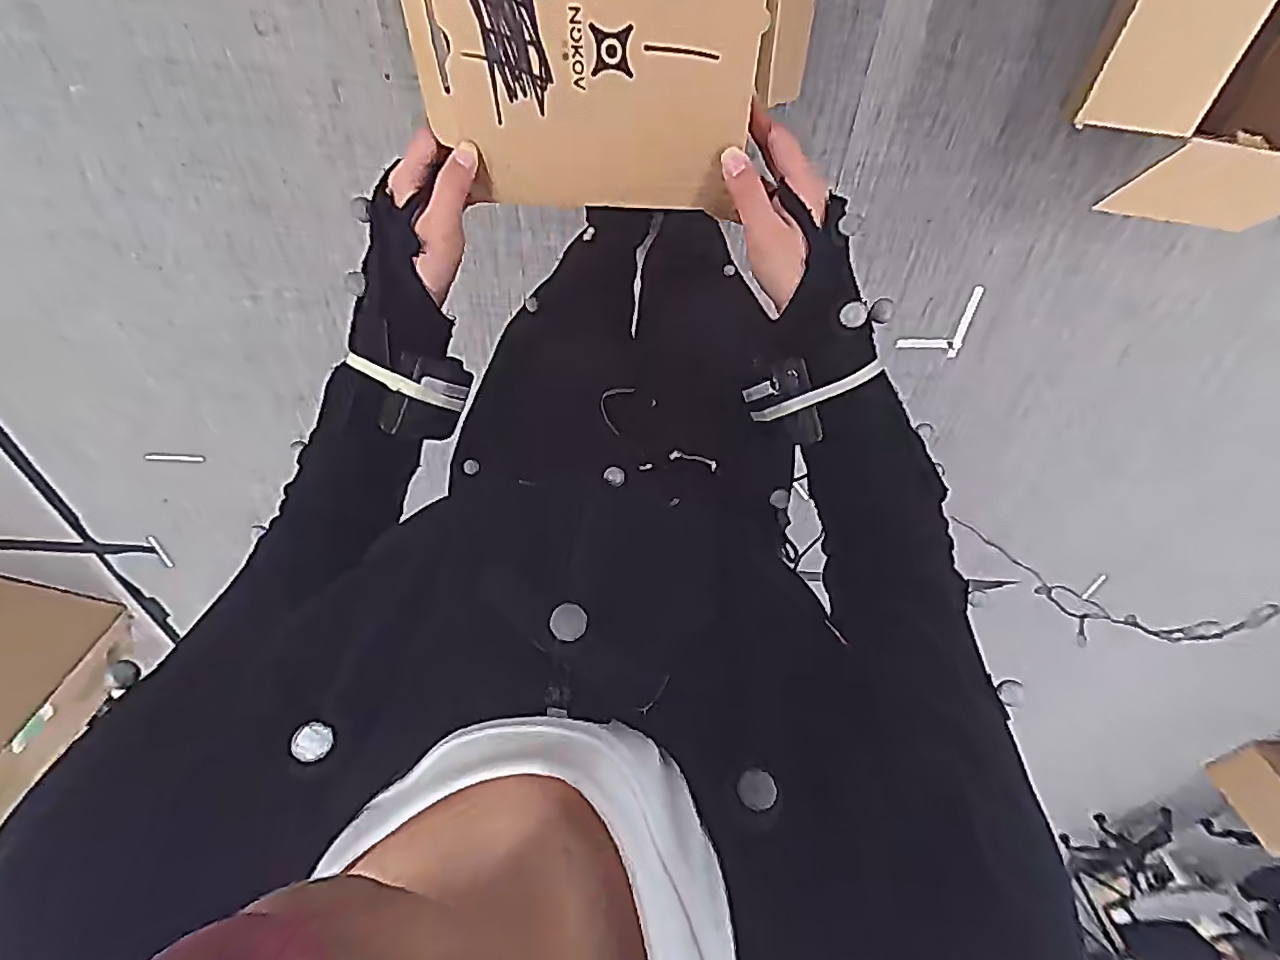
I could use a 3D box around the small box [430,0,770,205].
[{"bbox_3d":[-0.018,-0.294,0.334,0.179,0.176,0.168,3,140,1],"label":"small box"}]
